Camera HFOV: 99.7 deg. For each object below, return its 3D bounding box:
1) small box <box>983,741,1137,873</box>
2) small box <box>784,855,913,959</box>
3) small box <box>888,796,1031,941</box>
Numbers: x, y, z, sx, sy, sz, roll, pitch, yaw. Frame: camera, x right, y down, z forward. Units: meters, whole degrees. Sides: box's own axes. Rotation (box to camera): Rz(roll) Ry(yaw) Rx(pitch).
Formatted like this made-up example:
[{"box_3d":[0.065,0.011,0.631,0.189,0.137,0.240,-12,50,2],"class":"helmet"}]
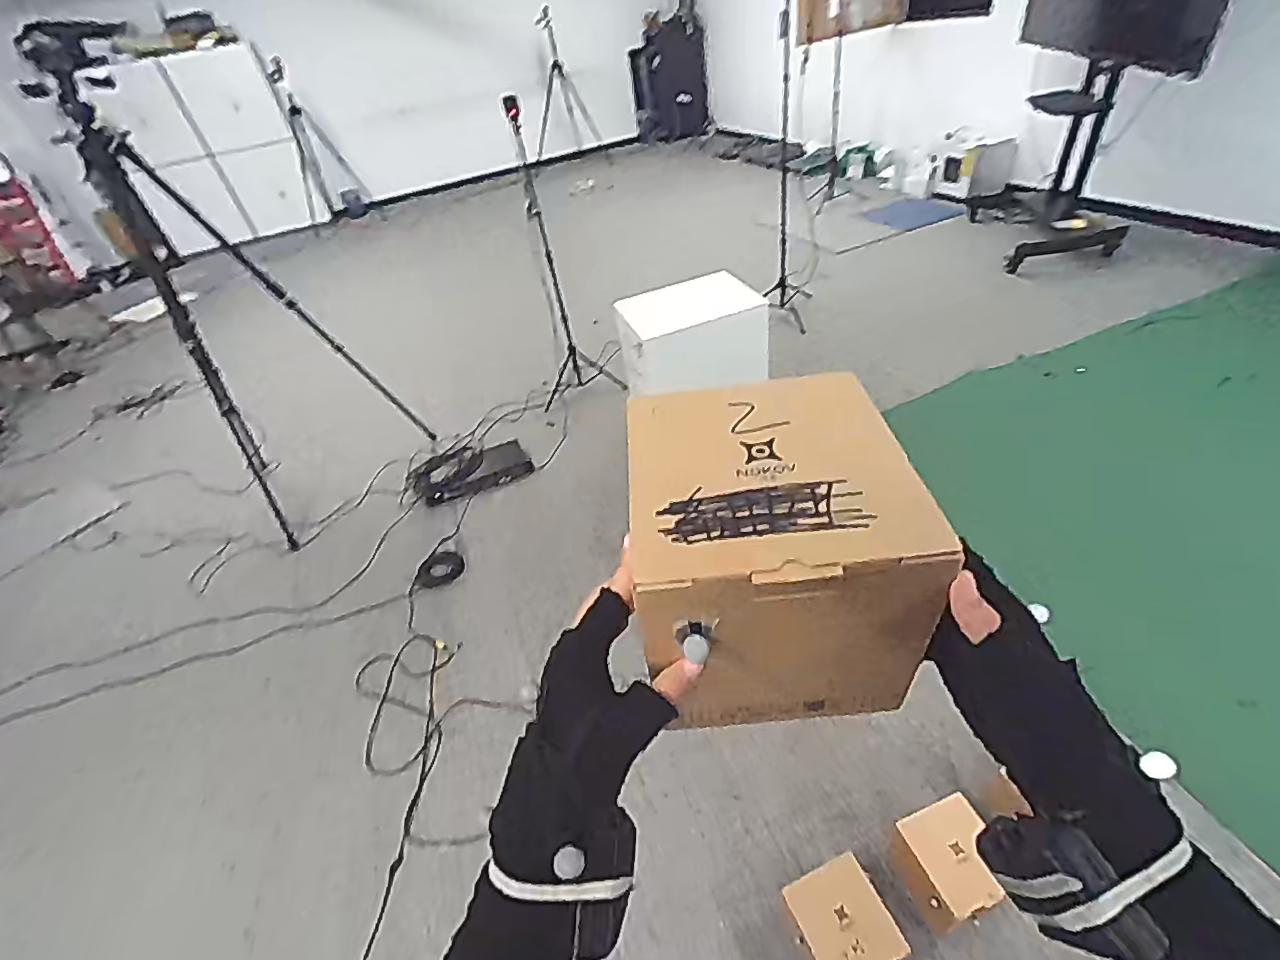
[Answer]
[{"box_3d":[0.892,0.710,1.167,0.168,0.176,0.179,-21,41,-12],"class":"small box"},{"box_3d":[0.397,0.891,1.064,0.168,0.176,0.179,-22,42,-10],"class":"small box"},{"box_3d":[0.644,0.802,1.117,0.168,0.176,0.179,-19,41,-10],"class":"small box"}]
